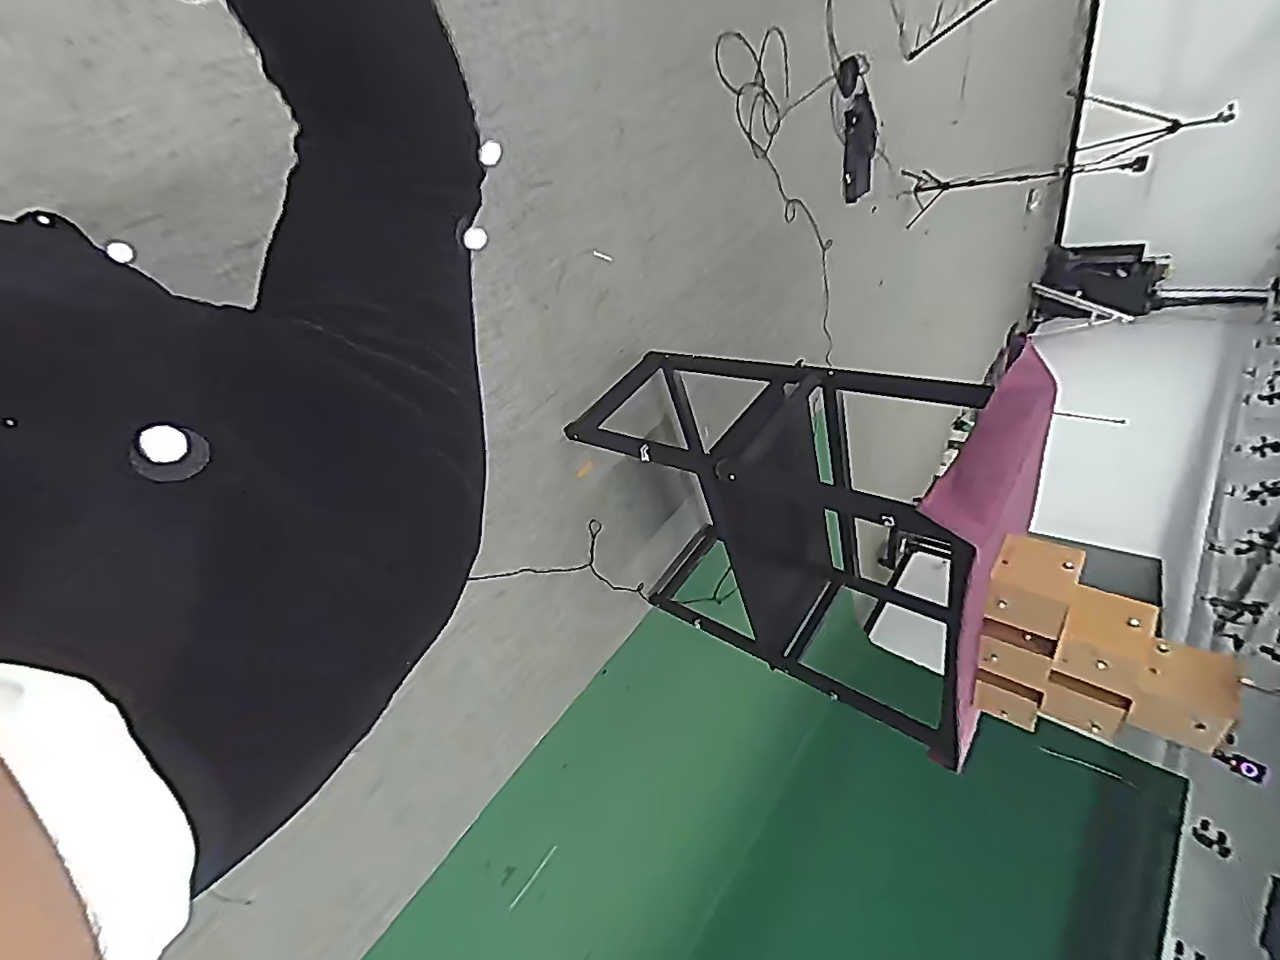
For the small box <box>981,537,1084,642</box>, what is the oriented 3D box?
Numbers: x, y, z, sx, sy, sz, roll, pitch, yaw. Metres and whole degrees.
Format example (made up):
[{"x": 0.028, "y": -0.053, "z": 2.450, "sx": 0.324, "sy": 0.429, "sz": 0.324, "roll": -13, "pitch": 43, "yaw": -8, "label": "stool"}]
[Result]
[{"x": 0.994, "y": 0.272, "z": 1.383, "sx": 0.168, "sy": 0.176, "sz": 0.179, "roll": -46, "pitch": 134, "yaw": -28, "label": "small box"}]

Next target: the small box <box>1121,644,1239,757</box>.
[{"x": 1.305, "y": 0.527, "z": 1.316, "sx": 0.168, "sy": 0.176, "sz": 0.179, "roll": -46, "pitch": 133, "yaw": -28, "label": "small box"}]

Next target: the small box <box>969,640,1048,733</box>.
[{"x": 1.149, "y": 0.640, "z": 1.691, "sx": 0.179, "sy": 0.176, "sz": 0.168, "roll": -44, "pitch": 132, "yaw": -31, "label": "small box"}]

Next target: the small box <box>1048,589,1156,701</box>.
[{"x": 1.151, "y": 0.407, "z": 1.355, "sx": 0.179, "sy": 0.176, "sz": 0.168, "roll": -45, "pitch": 132, "yaw": -29, "label": "small box"}]

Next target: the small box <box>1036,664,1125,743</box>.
[{"x": 1.224, "y": 0.580, "z": 1.498, "sx": 0.168, "sy": 0.176, "sz": 0.179, "roll": -46, "pitch": 133, "yaw": -29, "label": "small box"}]
